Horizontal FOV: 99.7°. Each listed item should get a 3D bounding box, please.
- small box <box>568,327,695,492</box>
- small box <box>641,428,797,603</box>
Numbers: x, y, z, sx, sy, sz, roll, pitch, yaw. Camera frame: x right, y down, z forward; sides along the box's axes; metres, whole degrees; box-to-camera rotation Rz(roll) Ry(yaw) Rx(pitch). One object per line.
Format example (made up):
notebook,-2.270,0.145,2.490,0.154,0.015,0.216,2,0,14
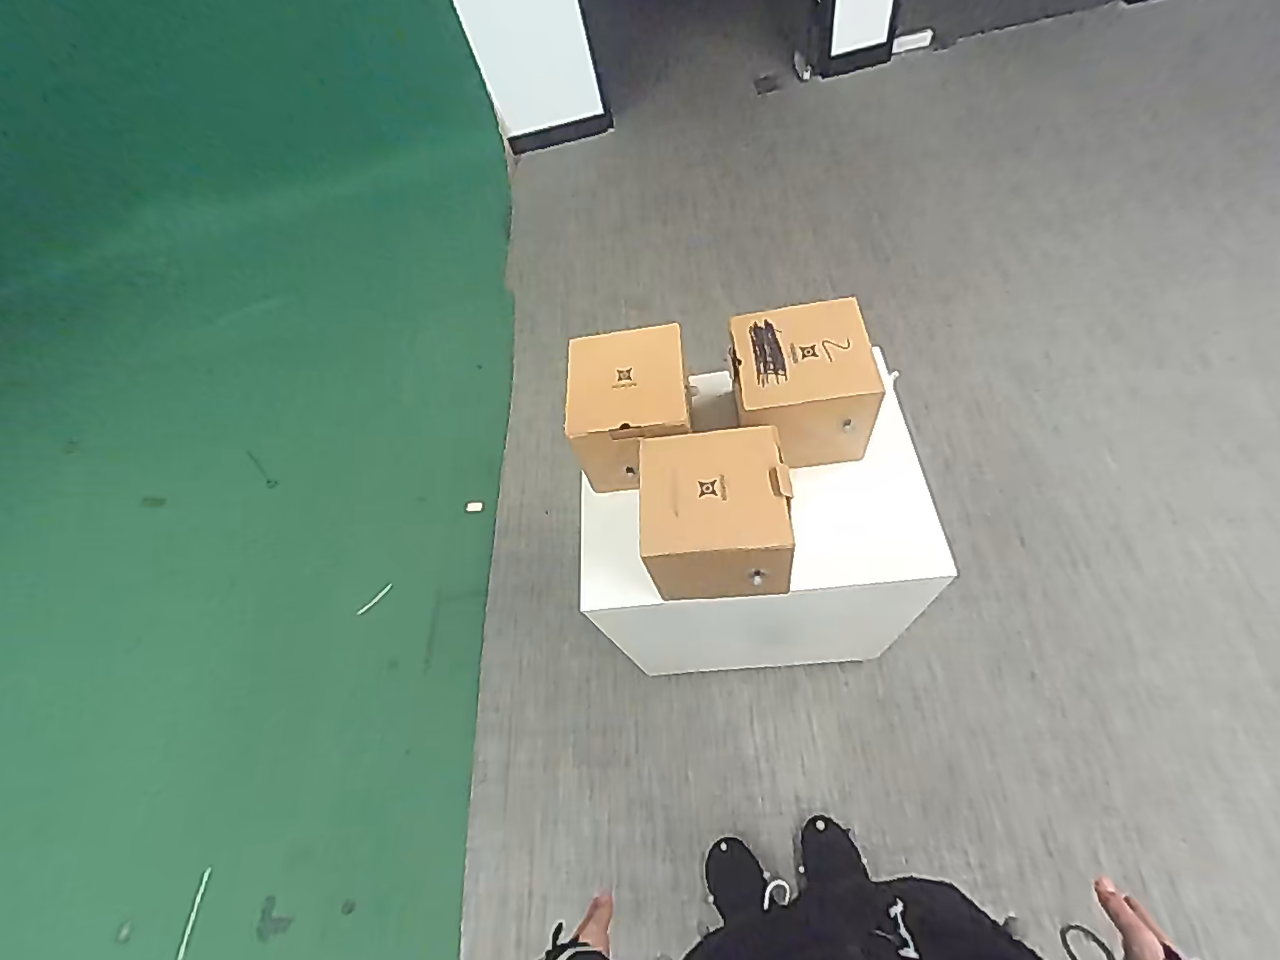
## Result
small box,-0.005,-0.100,0.818,0.168,0.176,0.179,-6,61,8
small box,0.102,0.053,0.707,0.179,0.176,0.168,-6,58,10
